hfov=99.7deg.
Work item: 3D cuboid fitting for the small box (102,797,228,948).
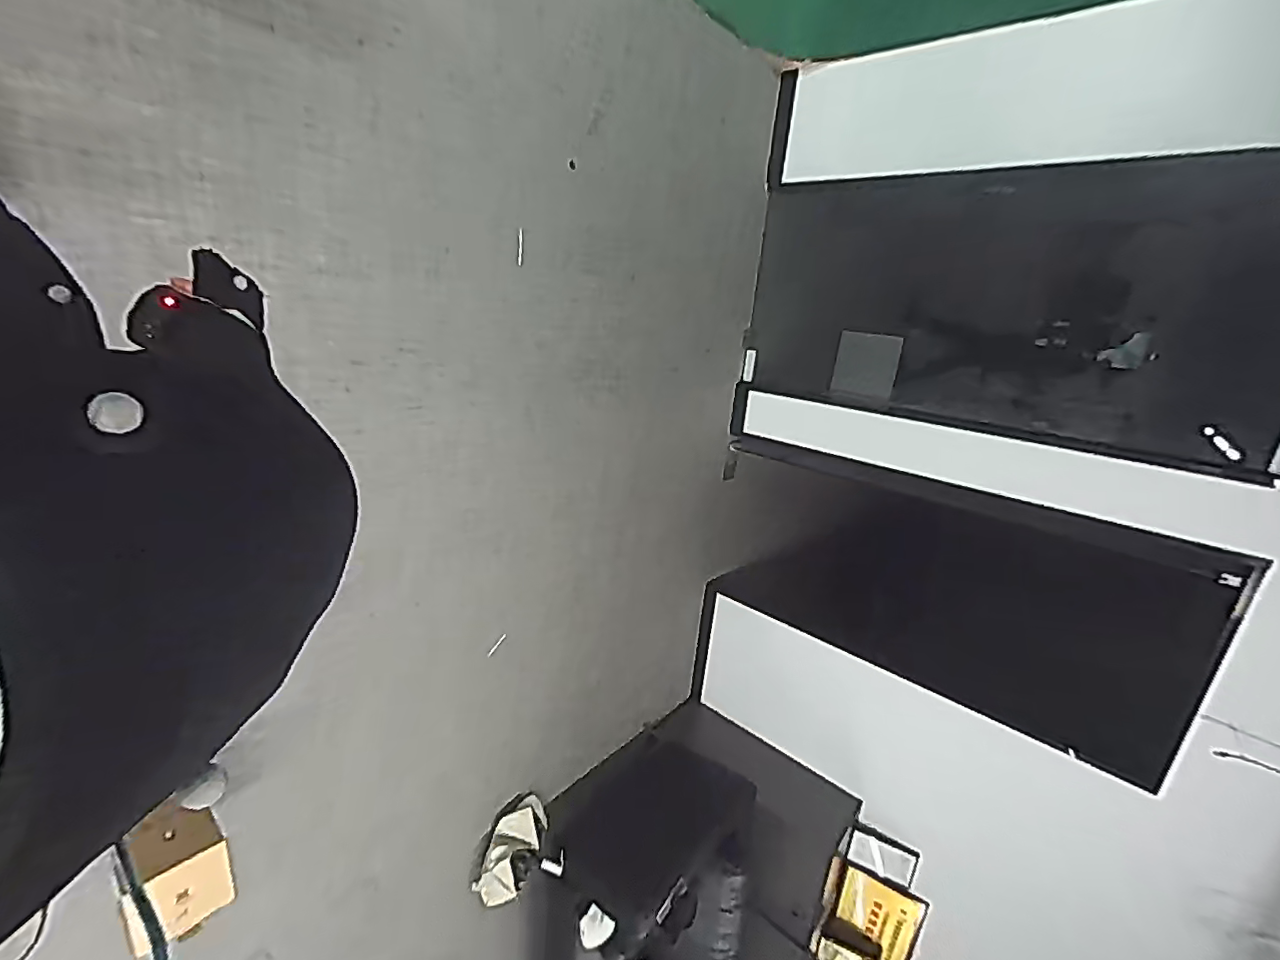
[{"bbox_3d":[-1.028,0.831,1.172,0.168,0.176,0.179,-14,117,-49],"label":"small box"}]

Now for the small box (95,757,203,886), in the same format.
[{"bbox_3d":[-1.153,0.804,1.277,0.168,0.176,0.179,-11,114,-51],"label":"small box"}]
